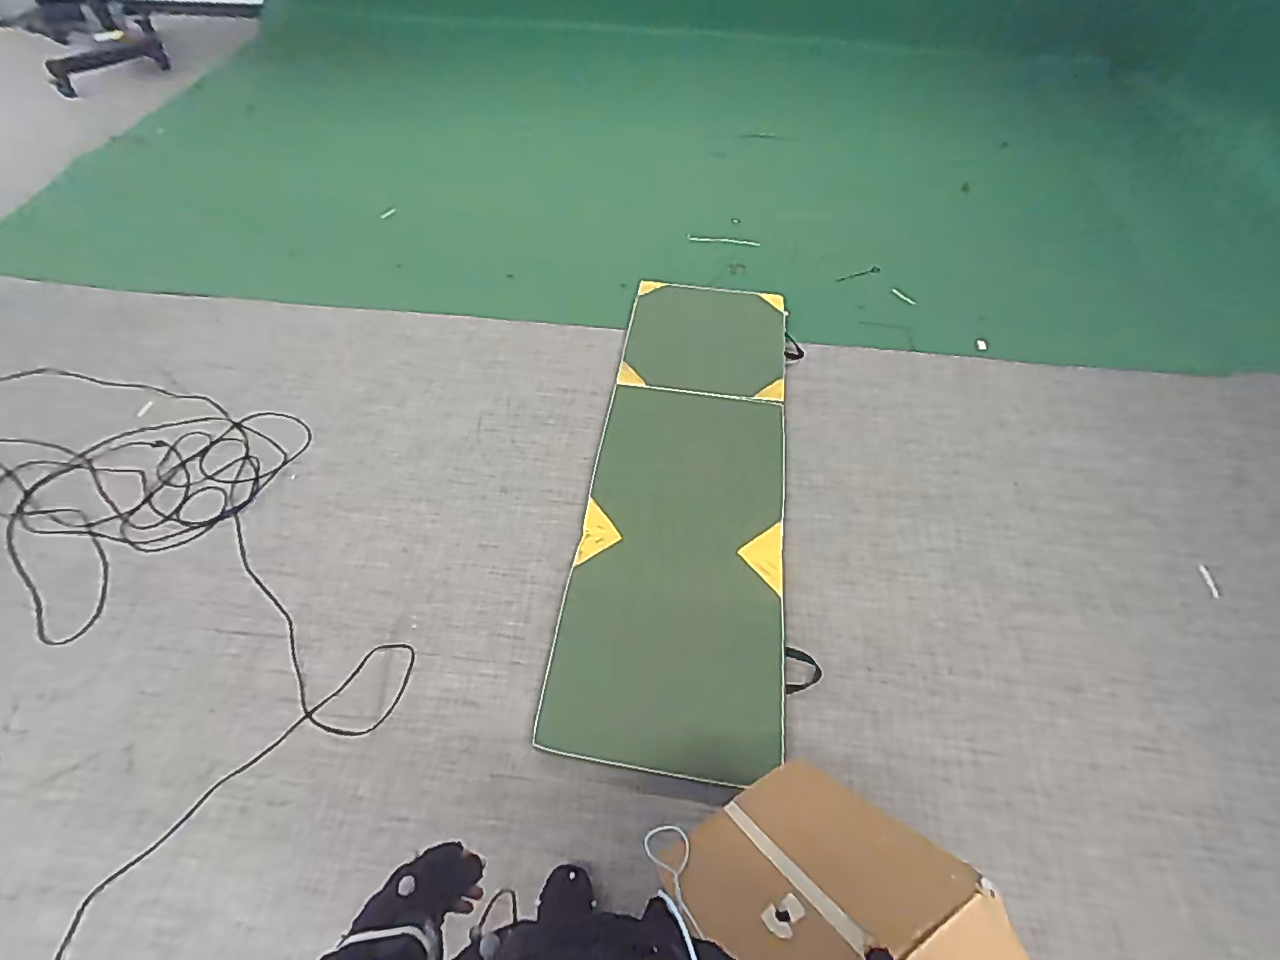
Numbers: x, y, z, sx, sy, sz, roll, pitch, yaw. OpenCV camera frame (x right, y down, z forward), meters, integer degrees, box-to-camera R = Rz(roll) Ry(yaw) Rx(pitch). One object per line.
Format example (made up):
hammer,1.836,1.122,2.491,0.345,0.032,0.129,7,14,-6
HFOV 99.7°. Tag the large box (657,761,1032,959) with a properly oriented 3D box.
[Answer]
large box,0.272,0.667,0.736,0.320,0.408,0.320,-26,89,-18
